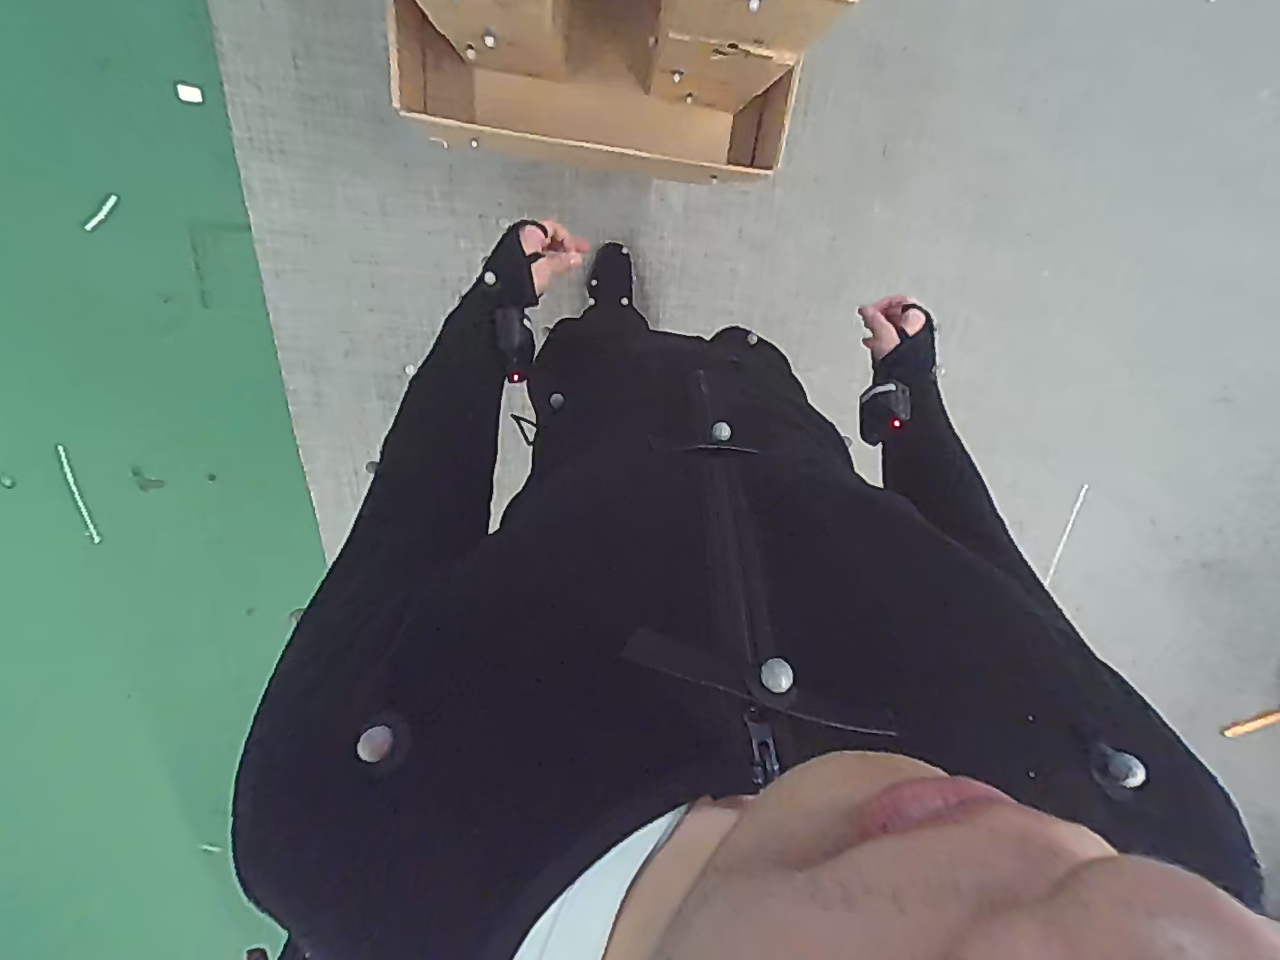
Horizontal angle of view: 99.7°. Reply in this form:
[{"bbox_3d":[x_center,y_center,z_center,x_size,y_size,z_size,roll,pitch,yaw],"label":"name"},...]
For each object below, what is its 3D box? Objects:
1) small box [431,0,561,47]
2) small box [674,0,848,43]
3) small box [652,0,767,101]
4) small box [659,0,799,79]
[{"bbox_3d":[-0.180,-0.672,0.657,0.168,0.176,0.179,7,114,-6],"label":"small box"},{"bbox_3d":[0.132,-0.581,0.540,0.168,0.176,0.179,3,114,-6],"label":"small box"},{"bbox_3d":[0.114,-0.720,0.837,0.168,0.176,0.179,5,115,-6],"label":"small box"},{"bbox_3d":[0.121,-0.645,0.691,0.168,0.176,0.179,6,114,-7],"label":"small box"}]
